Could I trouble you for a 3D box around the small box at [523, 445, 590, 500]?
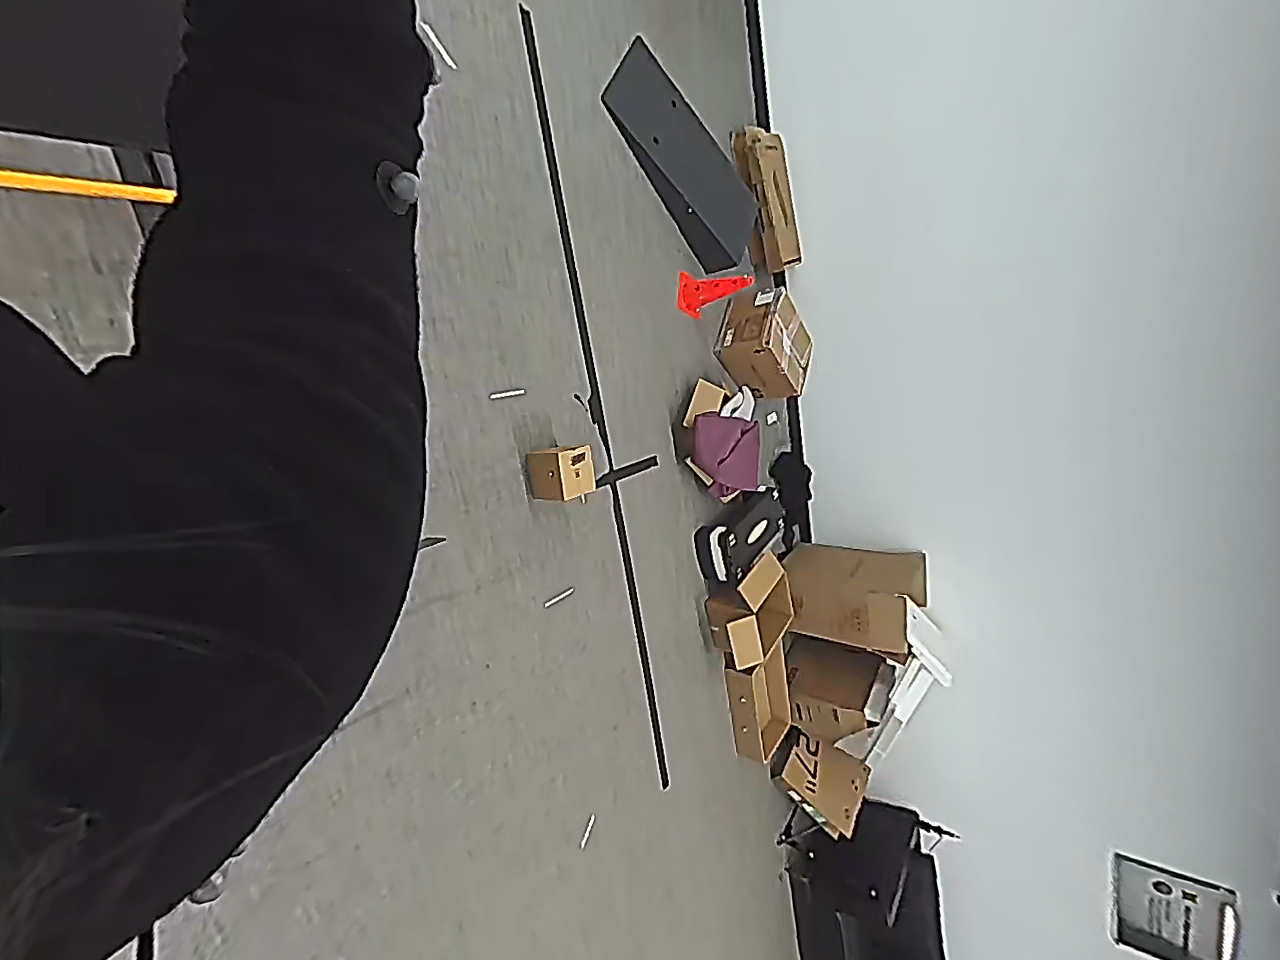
[{"bbox_3d":[-0.310,-0.028,1.987,0.168,0.176,0.179,-19,107,-50],"label":"small box"}]
